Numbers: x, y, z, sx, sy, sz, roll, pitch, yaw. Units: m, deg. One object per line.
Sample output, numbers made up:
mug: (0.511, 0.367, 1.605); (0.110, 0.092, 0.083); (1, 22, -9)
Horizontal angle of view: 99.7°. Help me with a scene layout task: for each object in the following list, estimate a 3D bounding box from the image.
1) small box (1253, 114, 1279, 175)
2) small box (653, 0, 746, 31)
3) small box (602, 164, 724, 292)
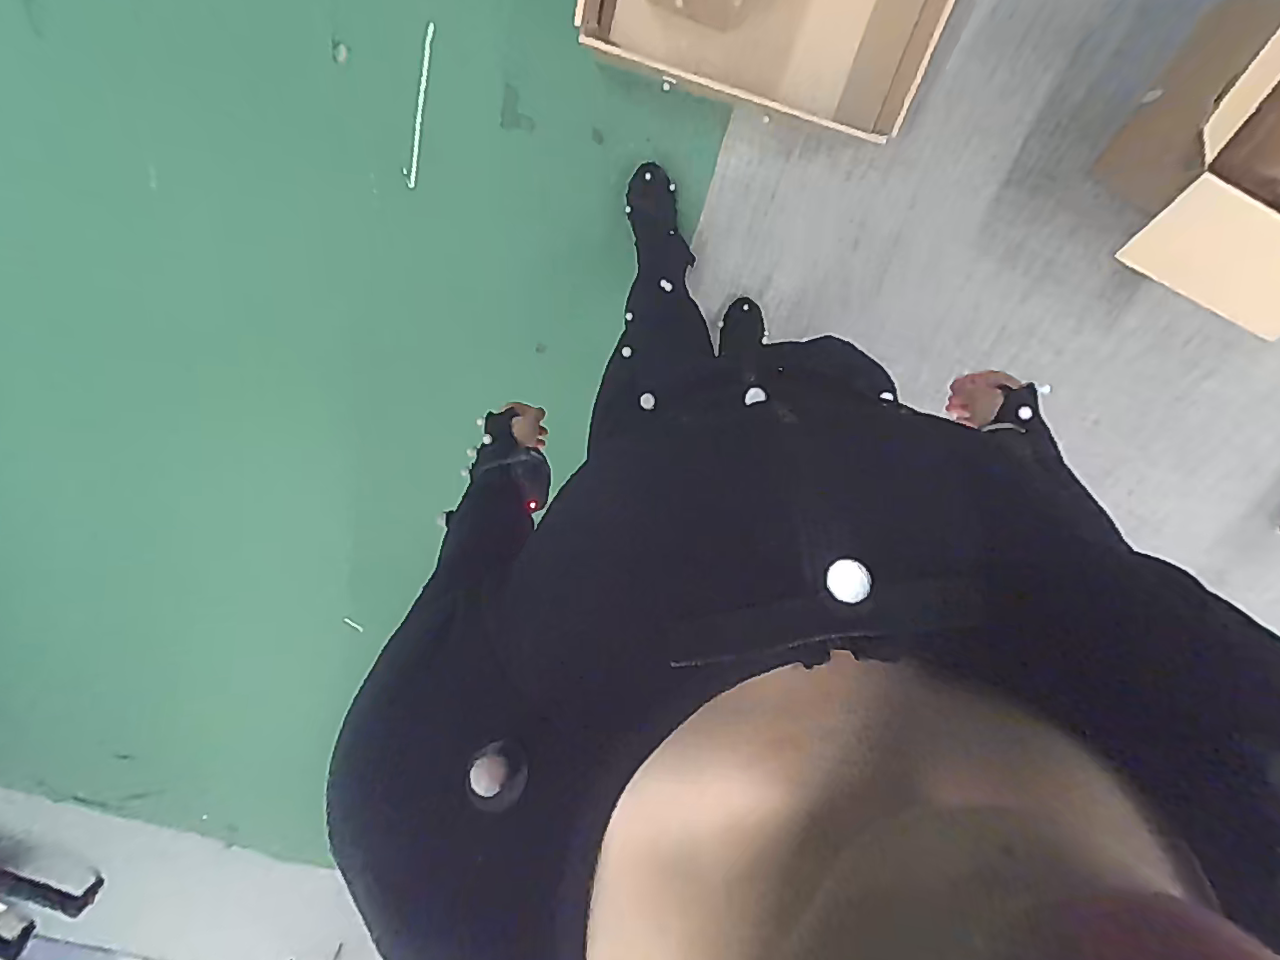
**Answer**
small box: (1.190, -0.592, 0.875); (0.168, 0.176, 0.179); (18, 117, -2)
small box: (0.120, -0.924, 0.939); (0.179, 0.176, 0.168); (16, 116, -5)
small box: (0.058, -0.544, 1.171); (0.176, 0.168, 0.179); (28, 98, -44)
